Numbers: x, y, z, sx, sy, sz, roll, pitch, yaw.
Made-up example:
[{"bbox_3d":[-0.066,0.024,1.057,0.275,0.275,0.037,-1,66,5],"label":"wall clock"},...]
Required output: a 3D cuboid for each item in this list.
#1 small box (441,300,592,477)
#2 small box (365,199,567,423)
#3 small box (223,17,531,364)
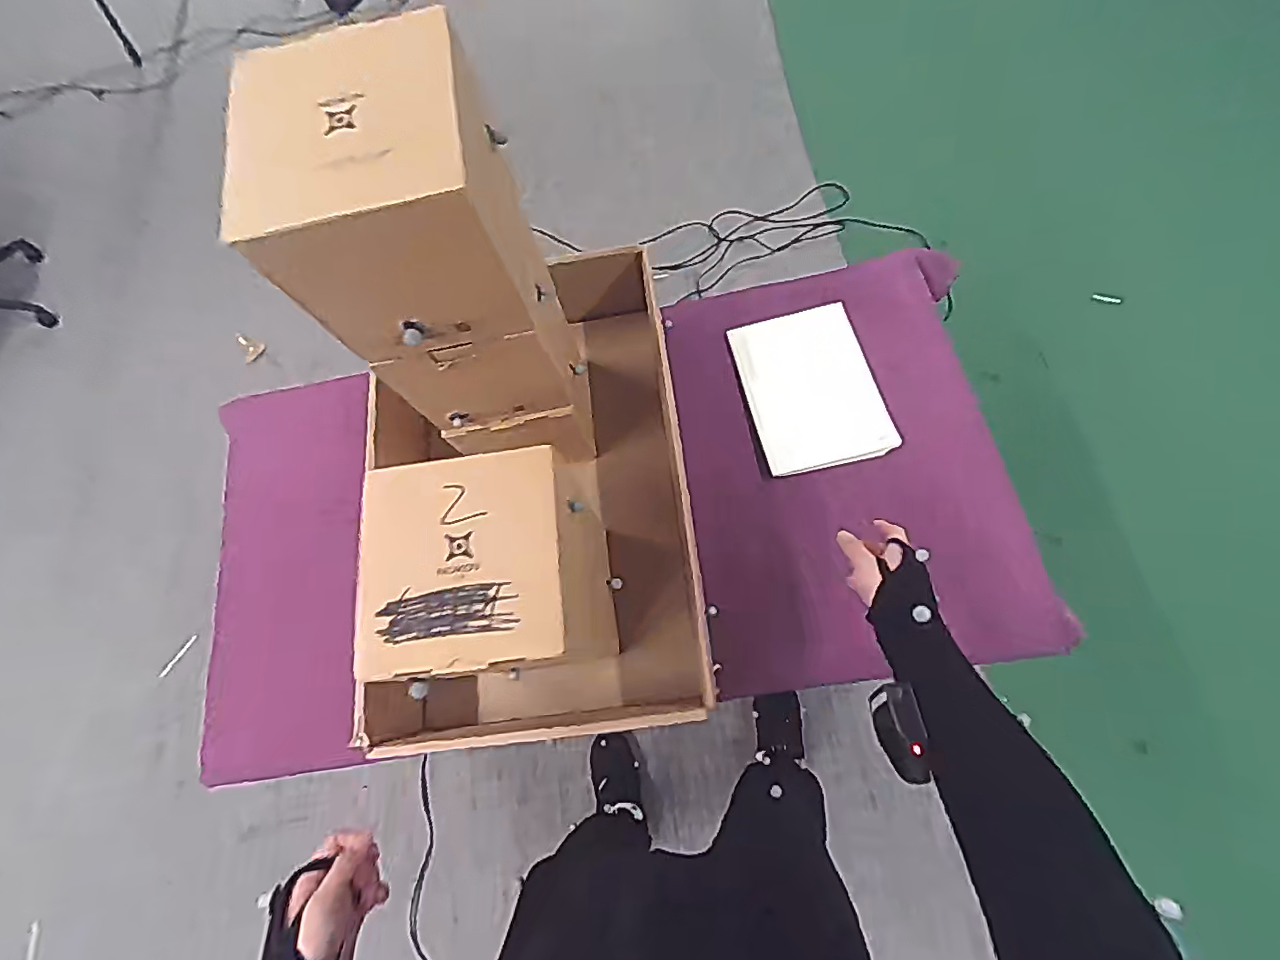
[{"bbox_3d":[-0.169,-0.121,0.762,0.168,0.176,0.179,-11,73,2],"label":"small box"},{"bbox_3d":[-0.186,-0.177,0.609,0.168,0.176,0.179,-11,72,2],"label":"small box"},{"bbox_3d":[-0.199,-0.225,0.454,0.168,0.176,0.179,-11,73,2],"label":"small box"}]
